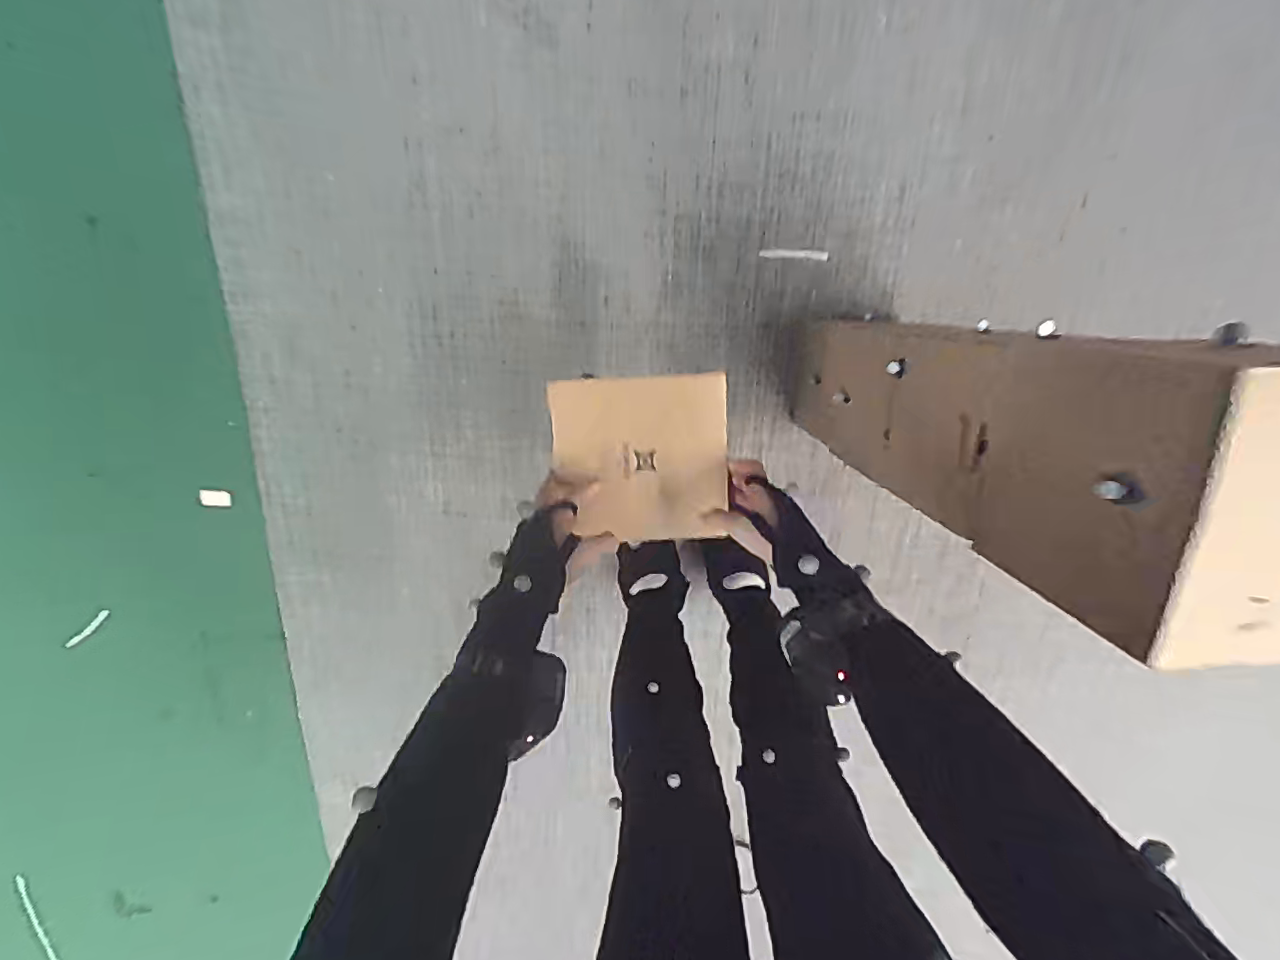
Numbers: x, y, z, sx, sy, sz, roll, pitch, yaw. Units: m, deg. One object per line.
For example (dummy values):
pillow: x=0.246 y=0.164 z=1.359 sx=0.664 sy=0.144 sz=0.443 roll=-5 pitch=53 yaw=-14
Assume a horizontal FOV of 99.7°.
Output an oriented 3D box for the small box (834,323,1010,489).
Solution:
small box: x=0.355 y=-0.099 z=0.670 sx=0.168 sy=0.176 sz=0.179 roll=-1 pitch=109 yaw=-3

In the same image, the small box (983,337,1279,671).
small box: x=0.364 y=-0.002 z=0.355 sx=0.168 sy=0.176 sz=0.179 roll=-1 pitch=108 yaw=-2

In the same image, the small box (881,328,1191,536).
small box: x=0.355 y=-0.053 z=0.511 sx=0.179 sy=0.176 sz=0.168 roll=-1 pitch=108 yaw=-3
